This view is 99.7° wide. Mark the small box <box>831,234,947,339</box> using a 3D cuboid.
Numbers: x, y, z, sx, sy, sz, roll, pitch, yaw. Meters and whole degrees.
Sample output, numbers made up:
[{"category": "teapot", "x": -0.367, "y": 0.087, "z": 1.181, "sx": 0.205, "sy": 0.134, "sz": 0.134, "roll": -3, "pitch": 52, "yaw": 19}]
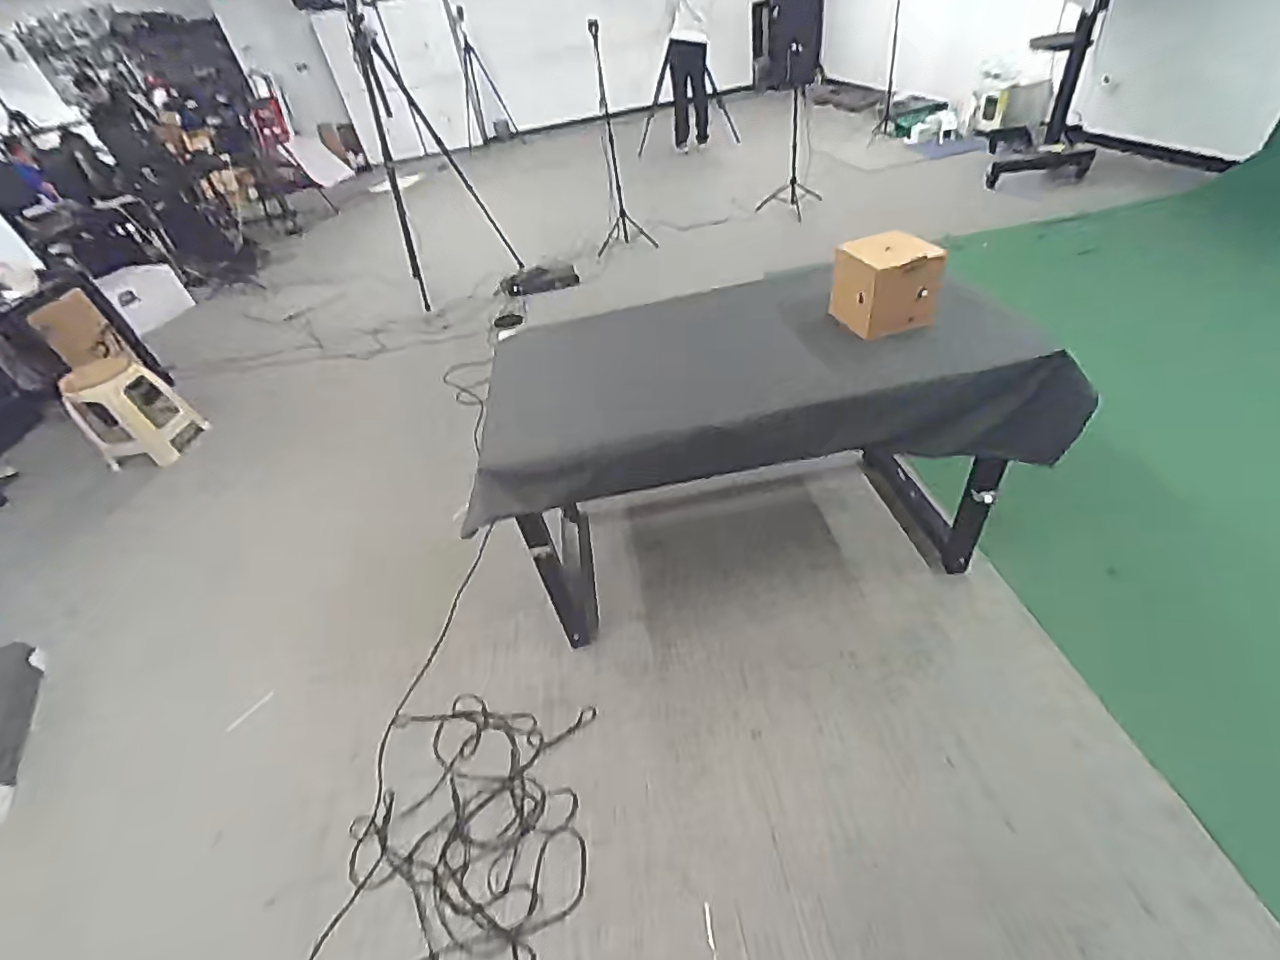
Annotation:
[{"category": "small box", "x": 0.558, "y": -0.437, "z": 1.236, "sx": 0.168, "sy": 0.176, "sz": 0.179, "roll": -15, "pitch": 40, "yaw": -6}]
